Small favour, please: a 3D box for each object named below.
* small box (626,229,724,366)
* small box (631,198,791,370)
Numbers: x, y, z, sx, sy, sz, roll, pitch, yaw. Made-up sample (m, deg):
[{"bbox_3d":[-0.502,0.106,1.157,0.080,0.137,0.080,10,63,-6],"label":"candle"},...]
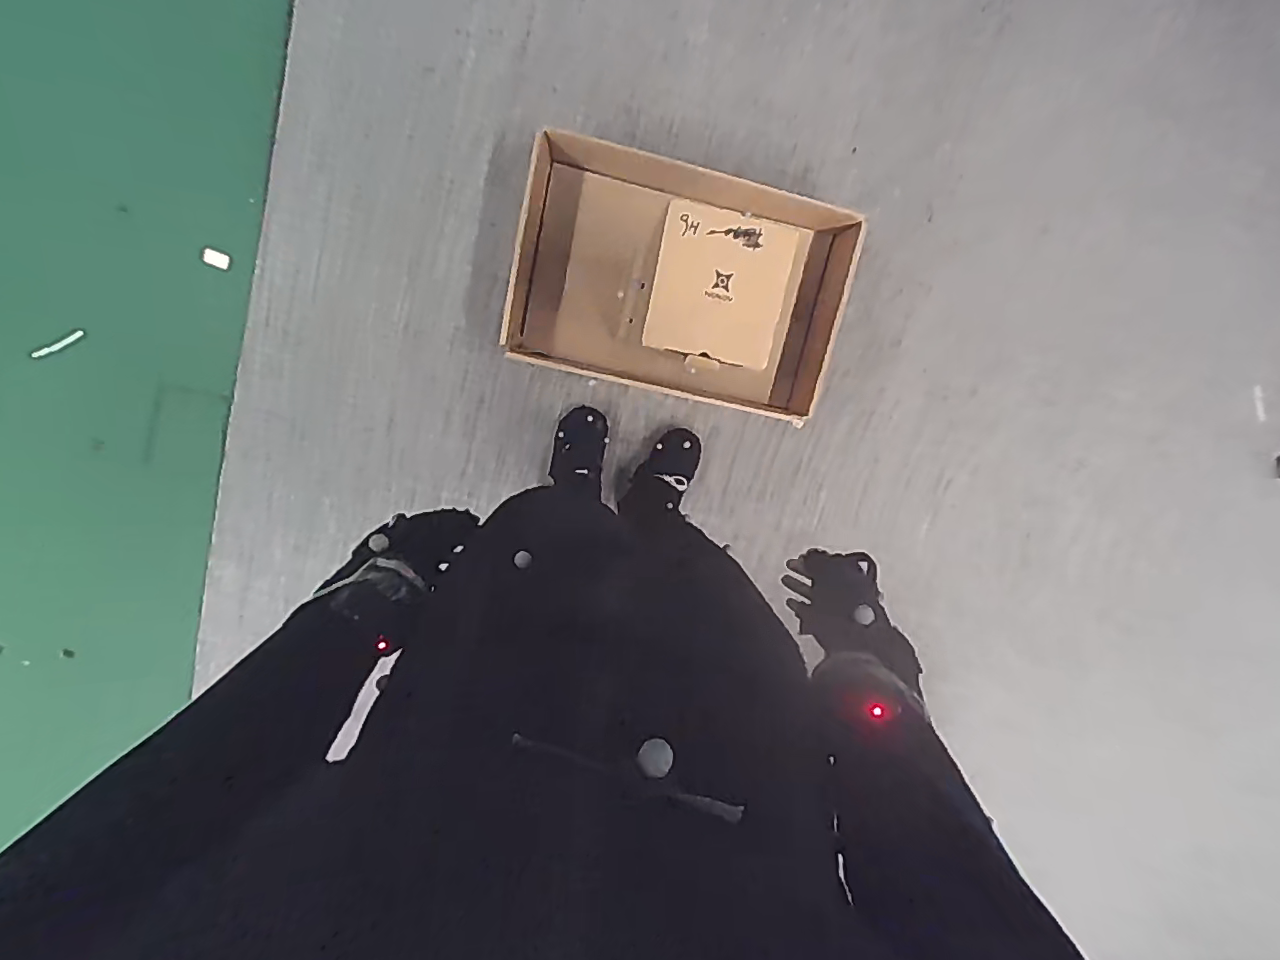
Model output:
[{"bbox_3d":[0.070,-0.290,0.890,0.168,0.176,0.179,7,103,-6],"label":"small box"},{"bbox_3d":[0.083,-0.258,0.747,0.168,0.176,0.179,10,103,-8],"label":"small box"}]
